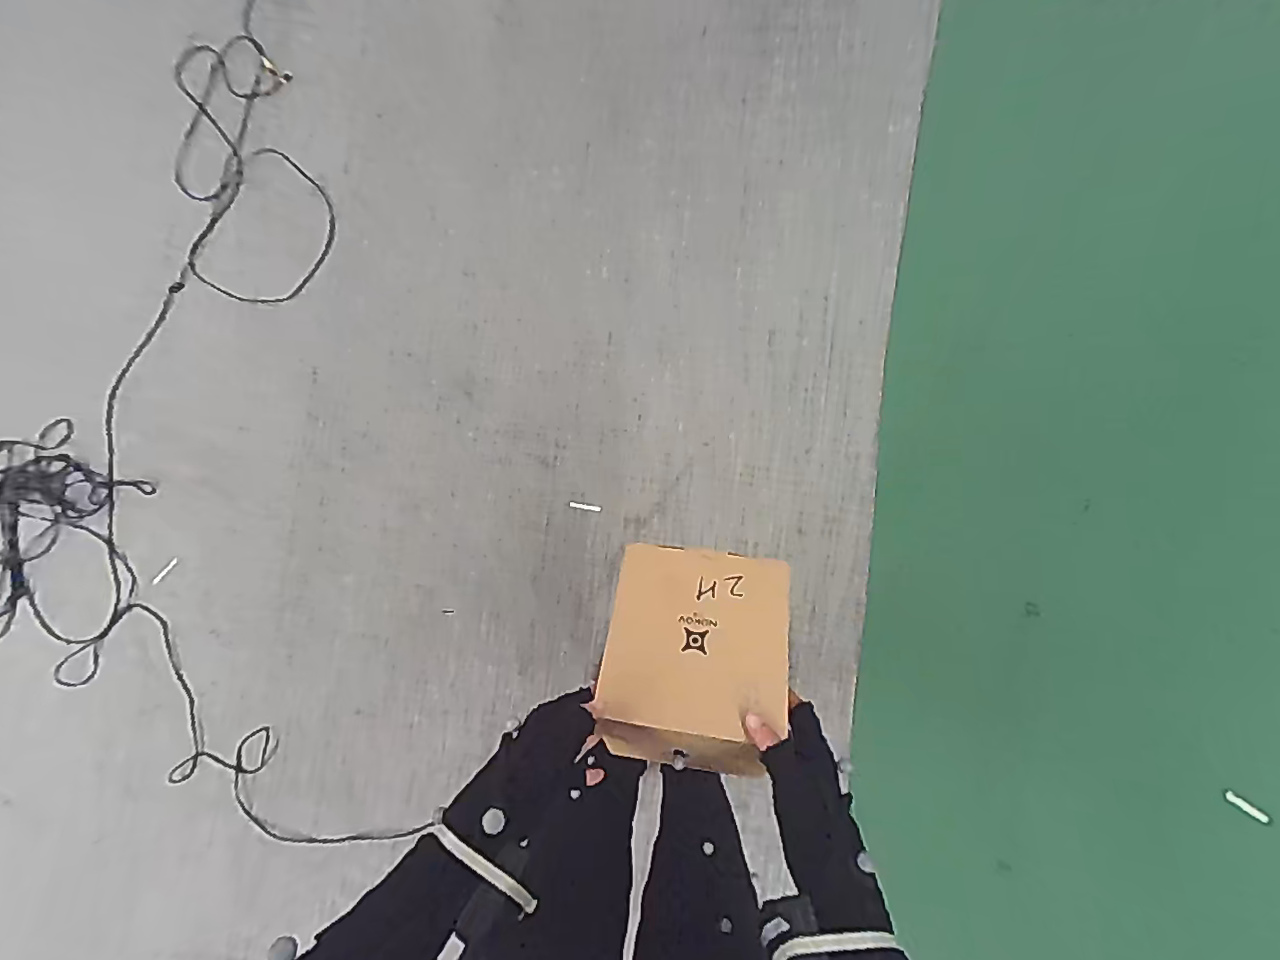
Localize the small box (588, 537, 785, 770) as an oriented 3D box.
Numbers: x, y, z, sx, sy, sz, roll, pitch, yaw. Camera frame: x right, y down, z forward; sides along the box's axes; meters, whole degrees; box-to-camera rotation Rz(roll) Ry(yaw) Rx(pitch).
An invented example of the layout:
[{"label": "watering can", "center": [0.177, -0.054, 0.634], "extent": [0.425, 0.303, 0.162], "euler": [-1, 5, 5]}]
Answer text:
[{"label": "small box", "center": [0.053, 0.185, 0.564], "extent": [0.168, 0.176, 0.179], "euler": [7, 53, 8]}]
